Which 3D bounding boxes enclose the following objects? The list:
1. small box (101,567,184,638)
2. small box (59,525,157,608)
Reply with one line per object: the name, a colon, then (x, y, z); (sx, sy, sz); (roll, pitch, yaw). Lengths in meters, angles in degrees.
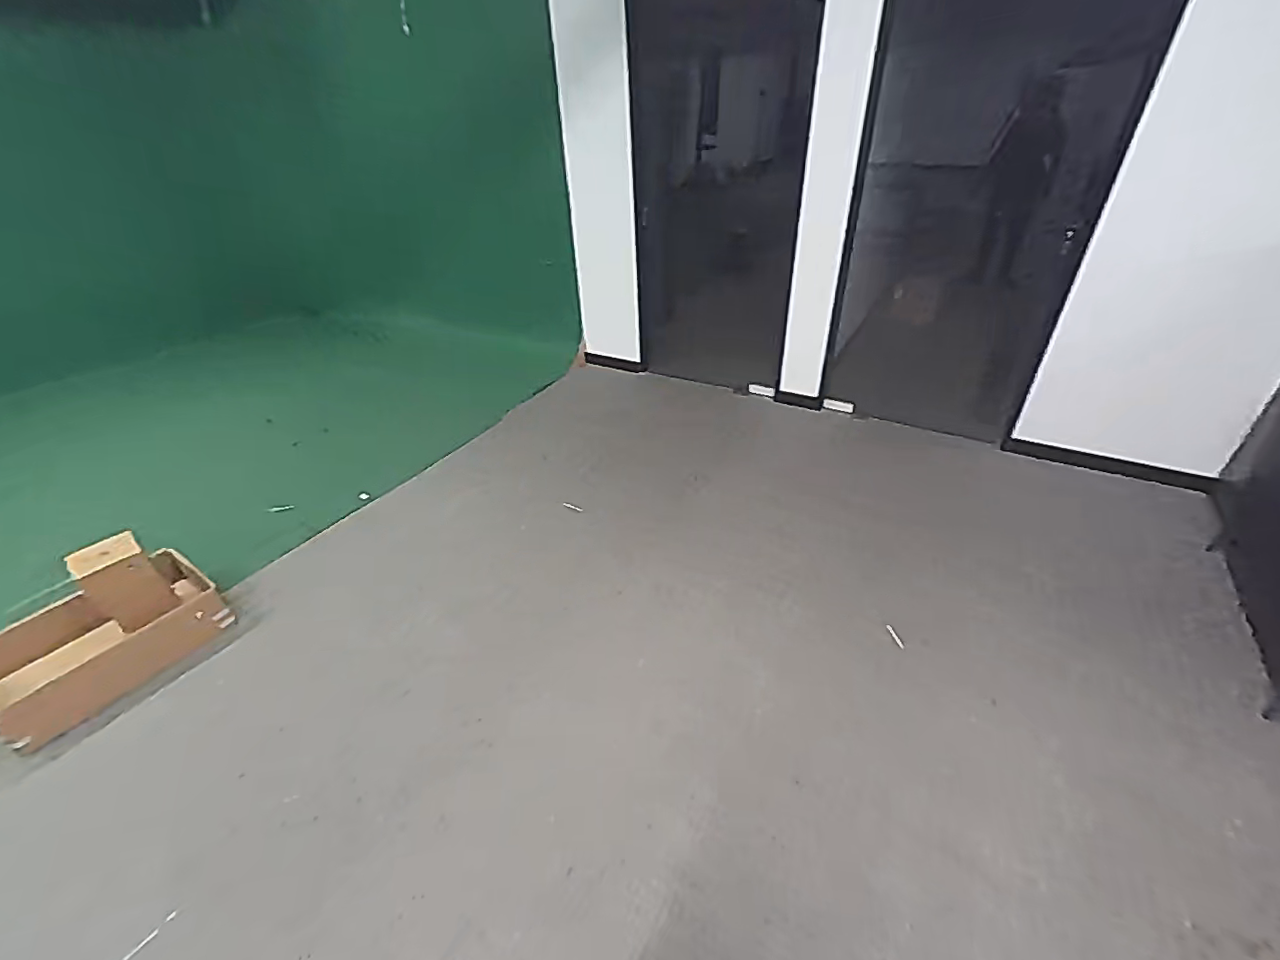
small box: (-1.754, 0.417, 1.891); (0.179, 0.176, 0.168); (27, 45, 31)
small box: (-1.752, 0.285, 1.793); (0.168, 0.176, 0.179); (26, 44, 33)
